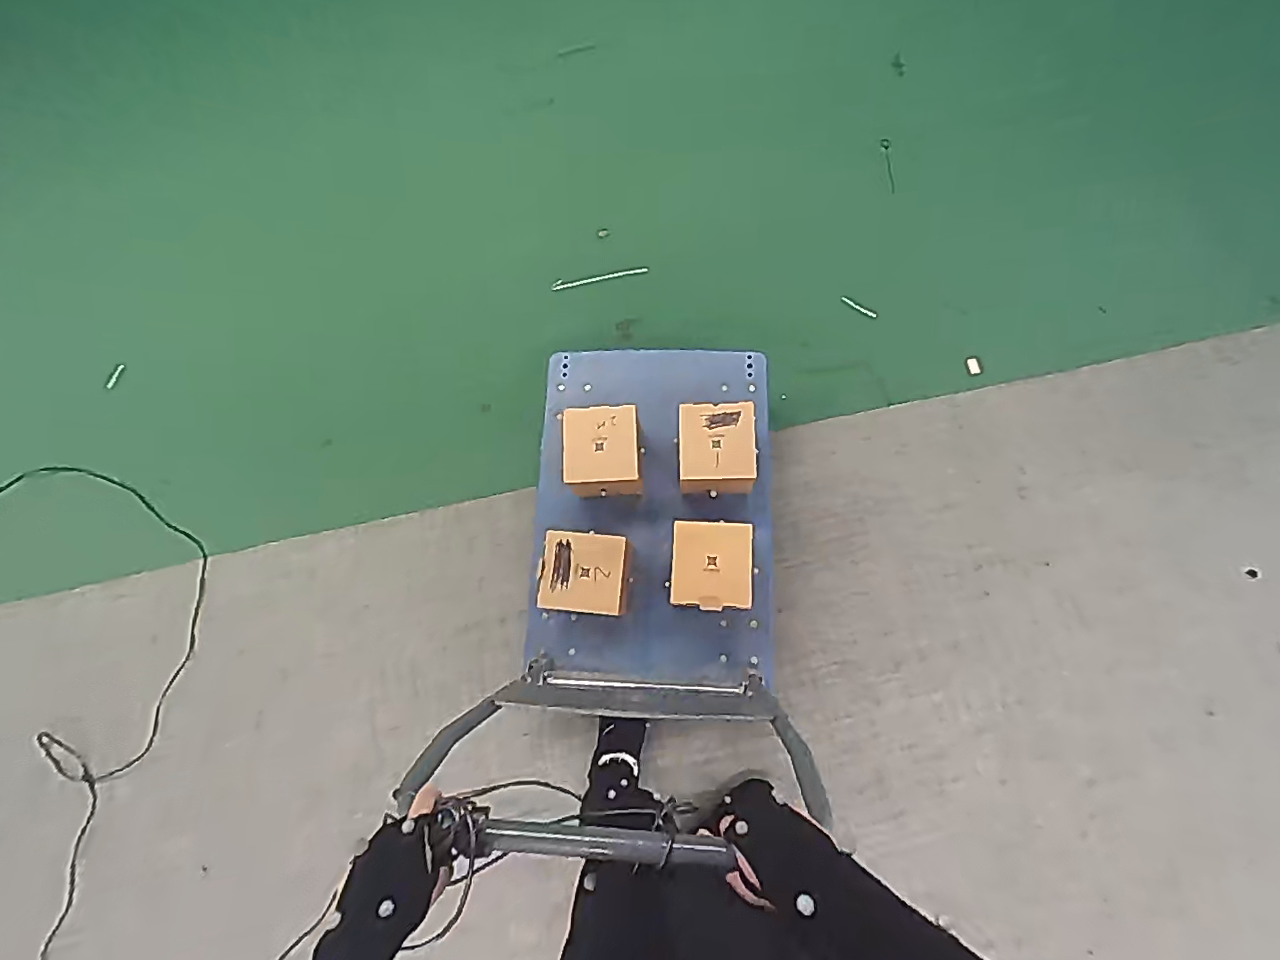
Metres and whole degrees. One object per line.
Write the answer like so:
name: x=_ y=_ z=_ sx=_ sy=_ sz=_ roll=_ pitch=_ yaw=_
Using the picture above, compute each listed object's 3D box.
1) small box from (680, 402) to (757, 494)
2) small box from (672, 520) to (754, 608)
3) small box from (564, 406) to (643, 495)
small box: x=0.176 y=-0.069 z=1.251 sx=0.168 sy=0.176 sz=0.179 roll=-1 pitch=78 yaw=6
small box: x=0.158 y=0.189 z=1.196 sx=0.168 sy=0.176 sz=0.179 roll=2 pitch=78 yaw=6
small box: x=-0.081 y=-0.062 z=1.273 sx=0.168 sy=0.176 sz=0.179 roll=-3 pitch=77 yaw=4
